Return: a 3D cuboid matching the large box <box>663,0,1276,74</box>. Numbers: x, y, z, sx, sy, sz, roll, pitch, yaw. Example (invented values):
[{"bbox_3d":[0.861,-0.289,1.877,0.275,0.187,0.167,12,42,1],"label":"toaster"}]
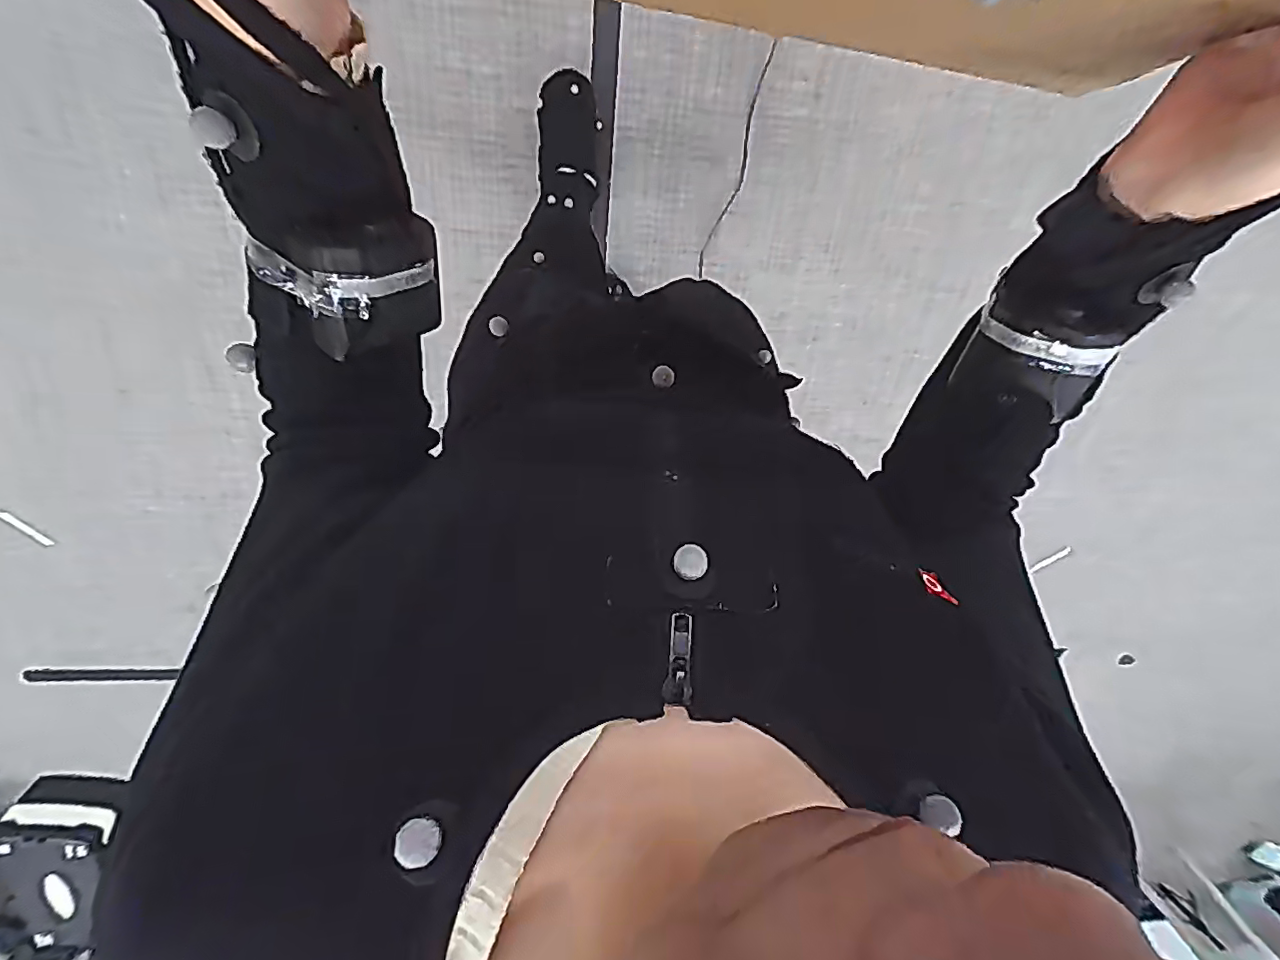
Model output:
[{"bbox_3d":[0.085,-0.338,0.100,0.408,0.320,0.320,3,112,-8],"label":"large box"}]
